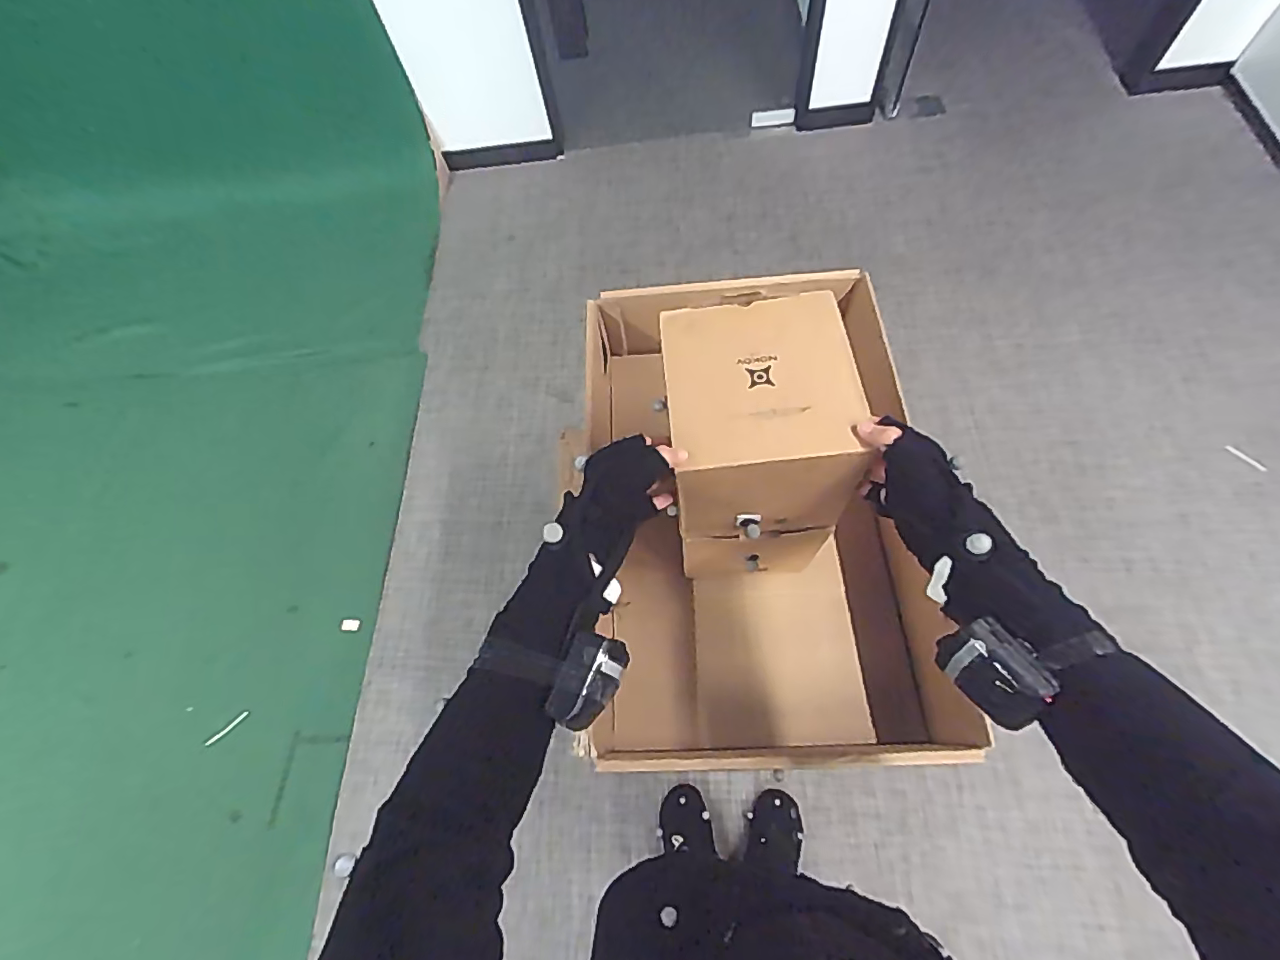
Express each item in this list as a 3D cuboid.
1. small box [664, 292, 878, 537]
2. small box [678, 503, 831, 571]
[{"bbox_3d":[0.114,-0.056,0.545,0.168,0.176,0.179,-6,65,5],"label":"small box"},{"bbox_3d":[0.132,0.015,0.693,0.168,0.176,0.179,-4,65,3],"label":"small box"}]
